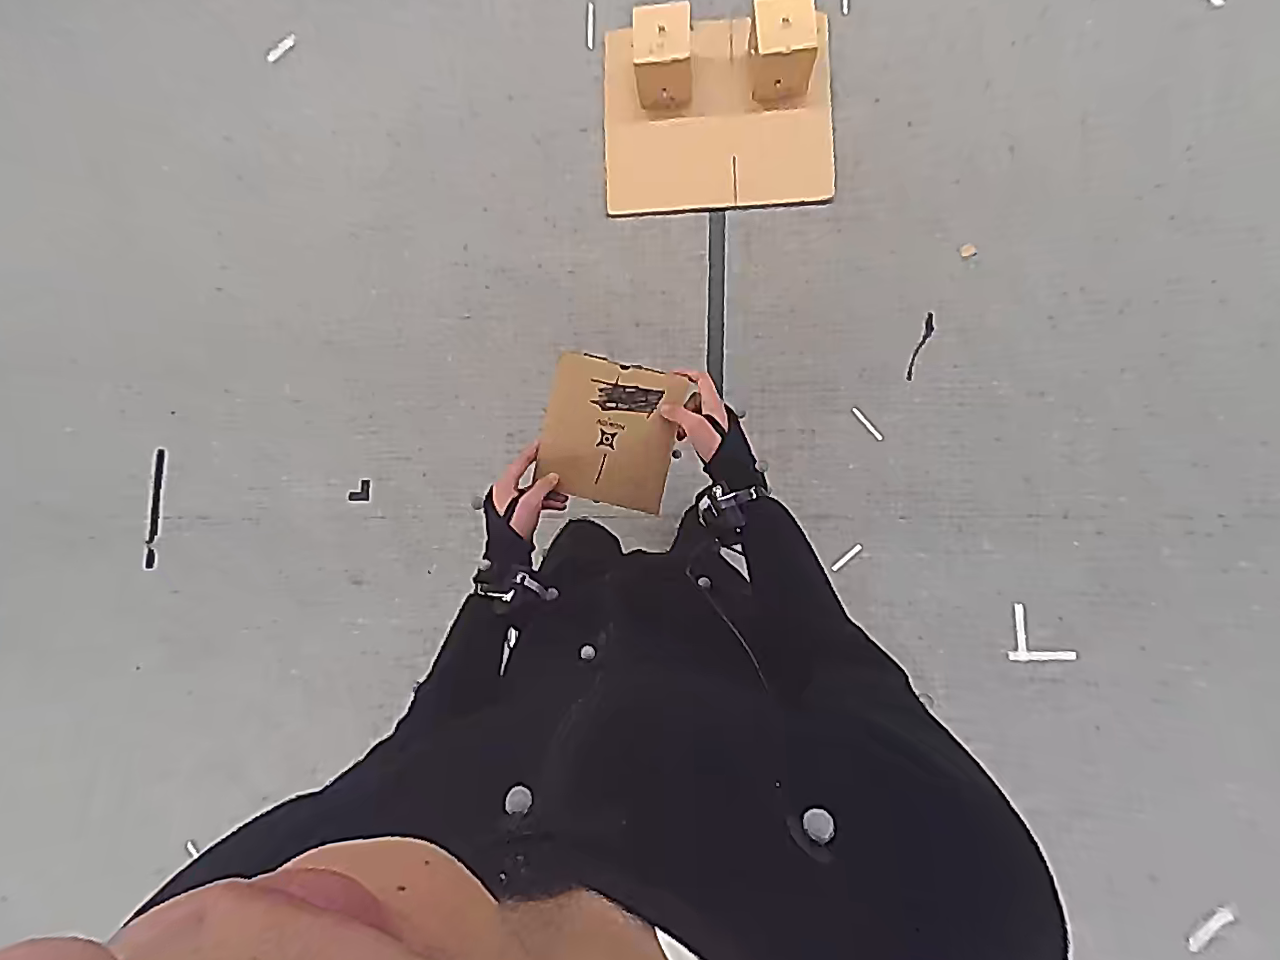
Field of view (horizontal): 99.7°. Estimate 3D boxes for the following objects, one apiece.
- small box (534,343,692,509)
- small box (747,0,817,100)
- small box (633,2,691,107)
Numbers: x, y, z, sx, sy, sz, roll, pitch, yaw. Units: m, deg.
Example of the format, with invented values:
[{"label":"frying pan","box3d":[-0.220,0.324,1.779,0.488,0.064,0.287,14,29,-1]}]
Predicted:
[{"label":"small box","box3d":[-0.033,-0.071,0.744,0.168,0.176,0.179,13,94,0]},{"label":"small box","box3d":[0.411,-1.268,1.588,0.168,0.176,0.179,-5,86,5]},{"label":"small box","box3d":[0.069,-1.265,1.616,0.168,0.176,0.179,-2,87,6]}]
